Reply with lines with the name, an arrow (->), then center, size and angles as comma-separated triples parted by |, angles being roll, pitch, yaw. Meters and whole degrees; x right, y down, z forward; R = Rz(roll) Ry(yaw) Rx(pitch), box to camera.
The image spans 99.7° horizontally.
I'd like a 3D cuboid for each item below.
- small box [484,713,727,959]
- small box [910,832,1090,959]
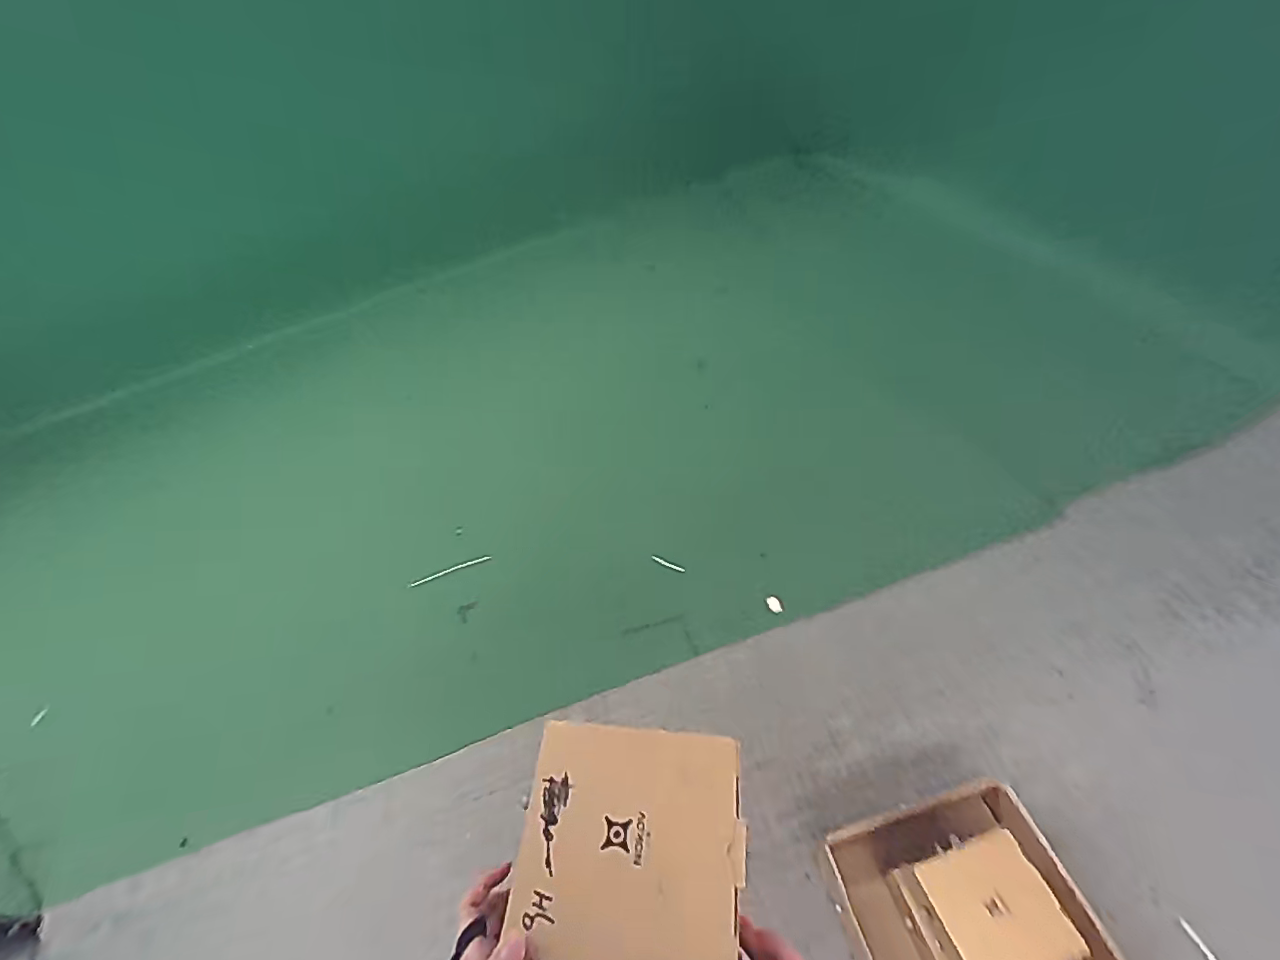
small box -> -0.012, 0.327, 0.492 | 0.179, 0.176, 0.168 | 1, 51, 9
small box -> 0.574, 0.718, 0.895 | 0.179, 0.176, 0.168 | -22, 48, -2
